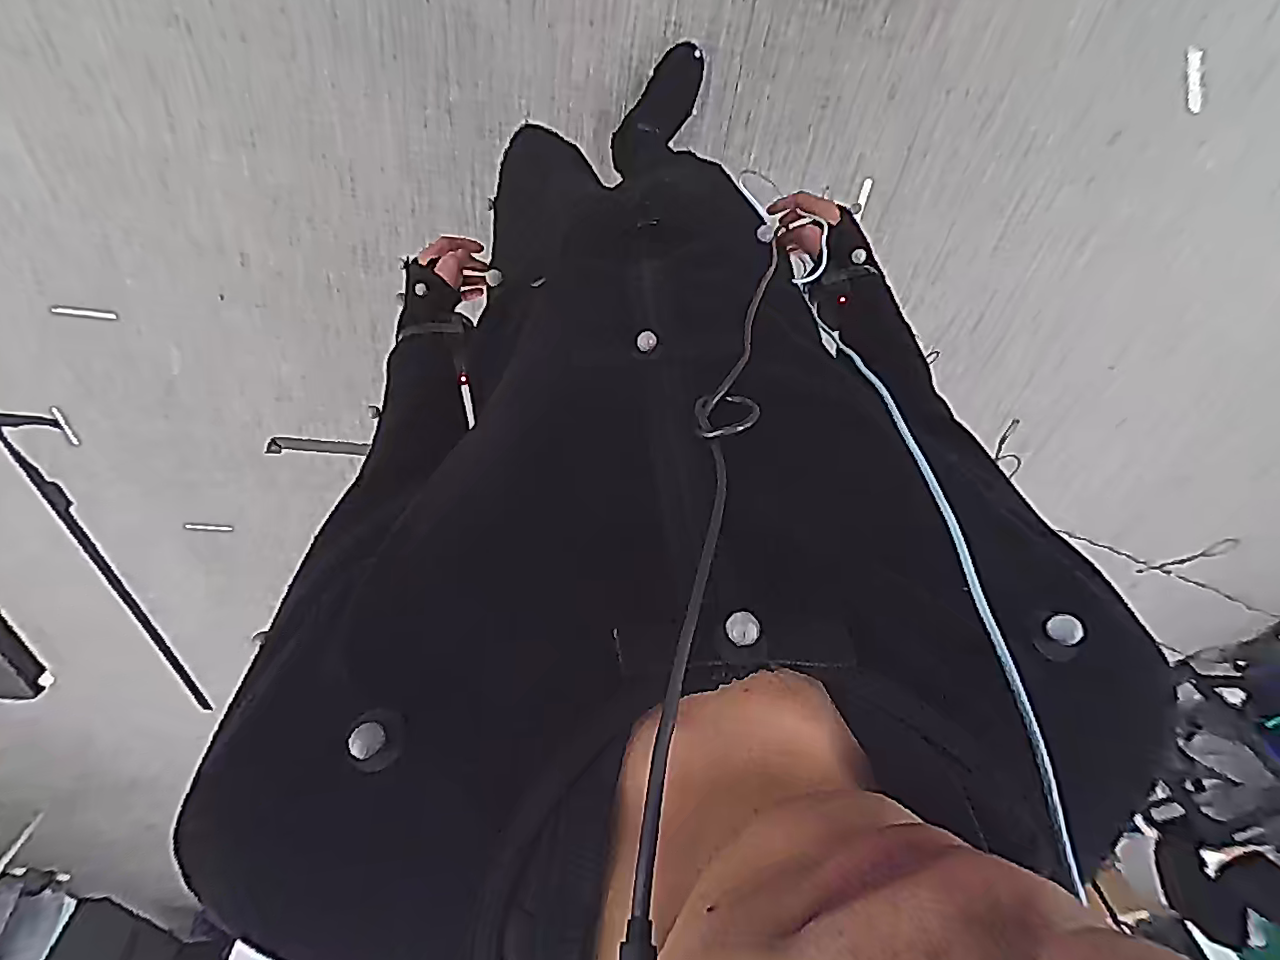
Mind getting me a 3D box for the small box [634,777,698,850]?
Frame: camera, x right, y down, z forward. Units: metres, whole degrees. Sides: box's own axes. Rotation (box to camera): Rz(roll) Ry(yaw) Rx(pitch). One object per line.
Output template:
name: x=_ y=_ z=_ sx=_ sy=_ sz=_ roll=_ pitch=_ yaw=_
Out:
small box: x=0.080 y=1.112 z=1.807 sx=0.179 sy=0.176 sz=0.168 roll=6 pitch=129 yaw=-10
